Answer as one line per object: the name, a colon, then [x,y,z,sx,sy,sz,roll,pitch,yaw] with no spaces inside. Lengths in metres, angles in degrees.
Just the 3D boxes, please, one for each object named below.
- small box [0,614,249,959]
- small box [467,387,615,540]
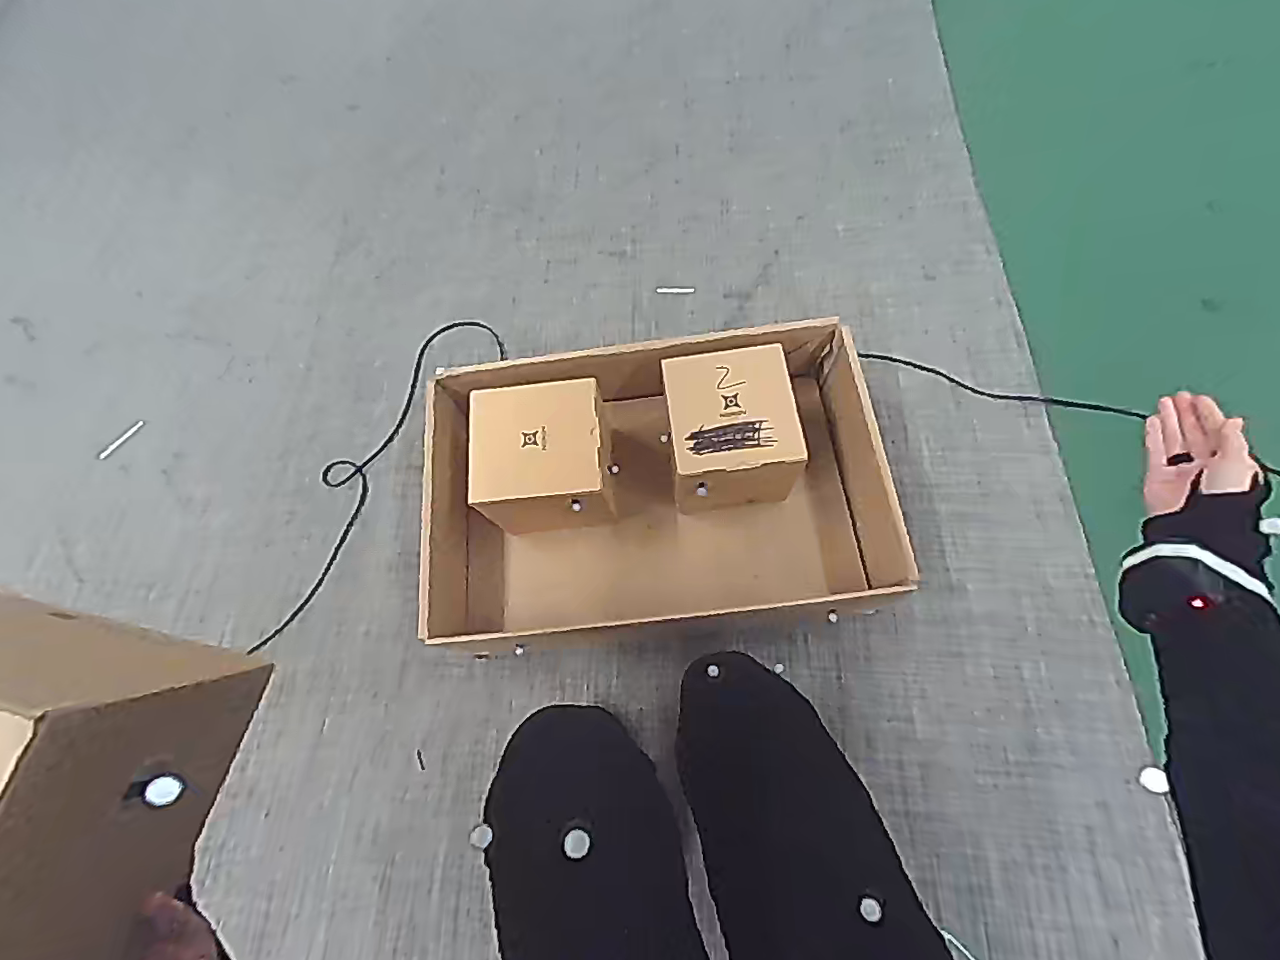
small box: [-0.311,0.159,0.225,0.168,0.176,0.179,18,75,-6]
small box: [-0.136,-0.016,0.791,0.179,0.176,0.168,-6,70,1]
